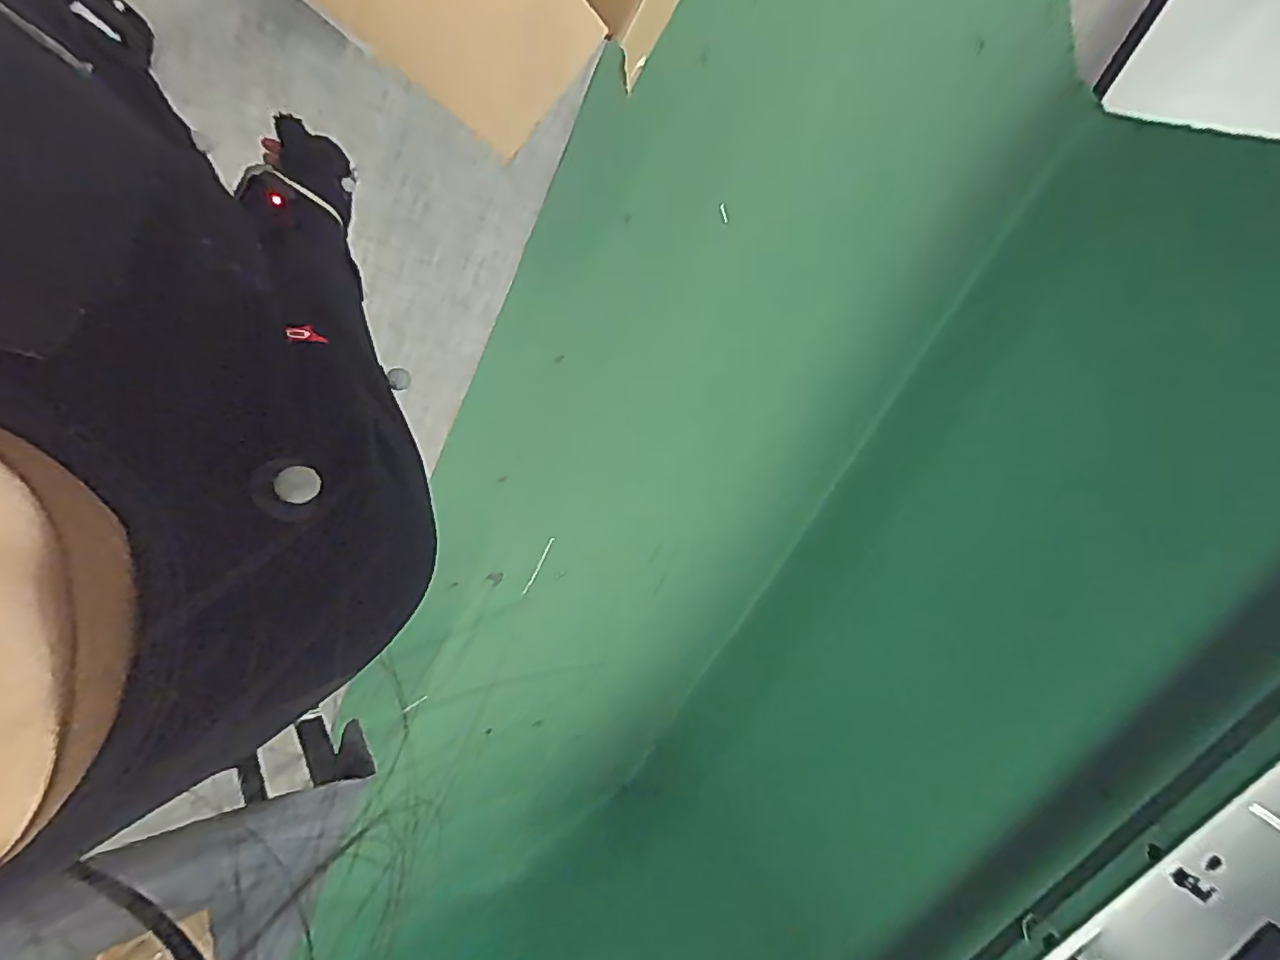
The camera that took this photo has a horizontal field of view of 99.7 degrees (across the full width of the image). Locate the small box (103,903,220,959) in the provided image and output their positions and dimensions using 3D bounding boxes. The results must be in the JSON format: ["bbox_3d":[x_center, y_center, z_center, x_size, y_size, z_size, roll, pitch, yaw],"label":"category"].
[{"bbox_3d":[-0.955,1.004,1.074,0.168,0.176,0.179,5,119,-50],"label":"small box"}]
